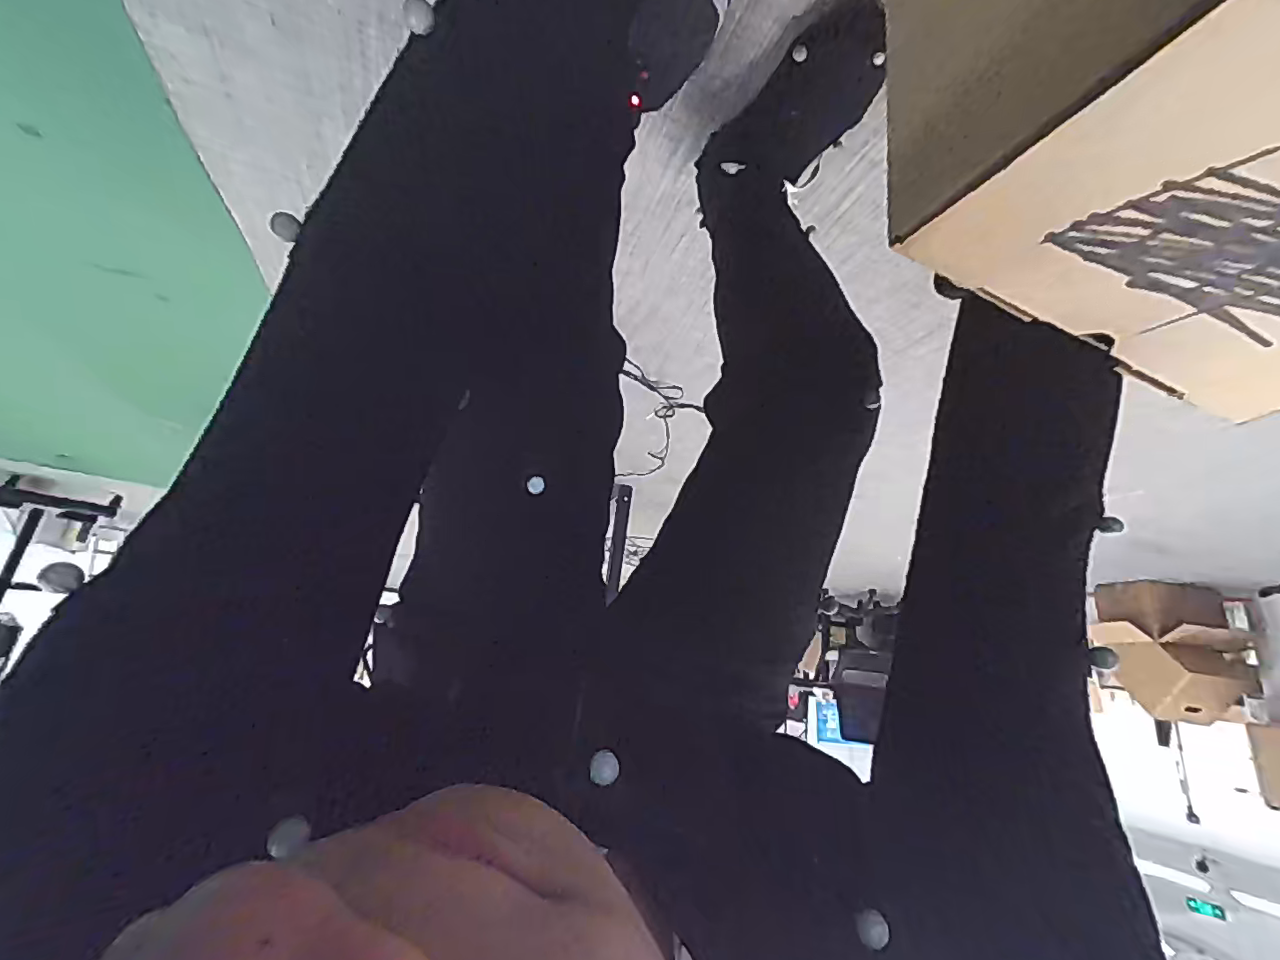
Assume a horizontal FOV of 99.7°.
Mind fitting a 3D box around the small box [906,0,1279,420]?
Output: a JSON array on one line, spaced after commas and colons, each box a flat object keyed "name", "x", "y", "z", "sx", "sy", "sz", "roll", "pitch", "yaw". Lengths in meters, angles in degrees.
[{"name": "small box", "x": 0.191, "y": -0.138, "z": 0.123, "sx": 0.168, "sy": 0.176, "sz": 0.179, "roll": 15, "pitch": 161, "yaw": -20}]

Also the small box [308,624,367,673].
[{"name": "small box", "x": -1.209, "y": 0.677, "z": 2.173, "sx": 0.168, "sy": 0.176, "sz": 0.179, "roll": 11, "pitch": 161, "yaw": -20}]
